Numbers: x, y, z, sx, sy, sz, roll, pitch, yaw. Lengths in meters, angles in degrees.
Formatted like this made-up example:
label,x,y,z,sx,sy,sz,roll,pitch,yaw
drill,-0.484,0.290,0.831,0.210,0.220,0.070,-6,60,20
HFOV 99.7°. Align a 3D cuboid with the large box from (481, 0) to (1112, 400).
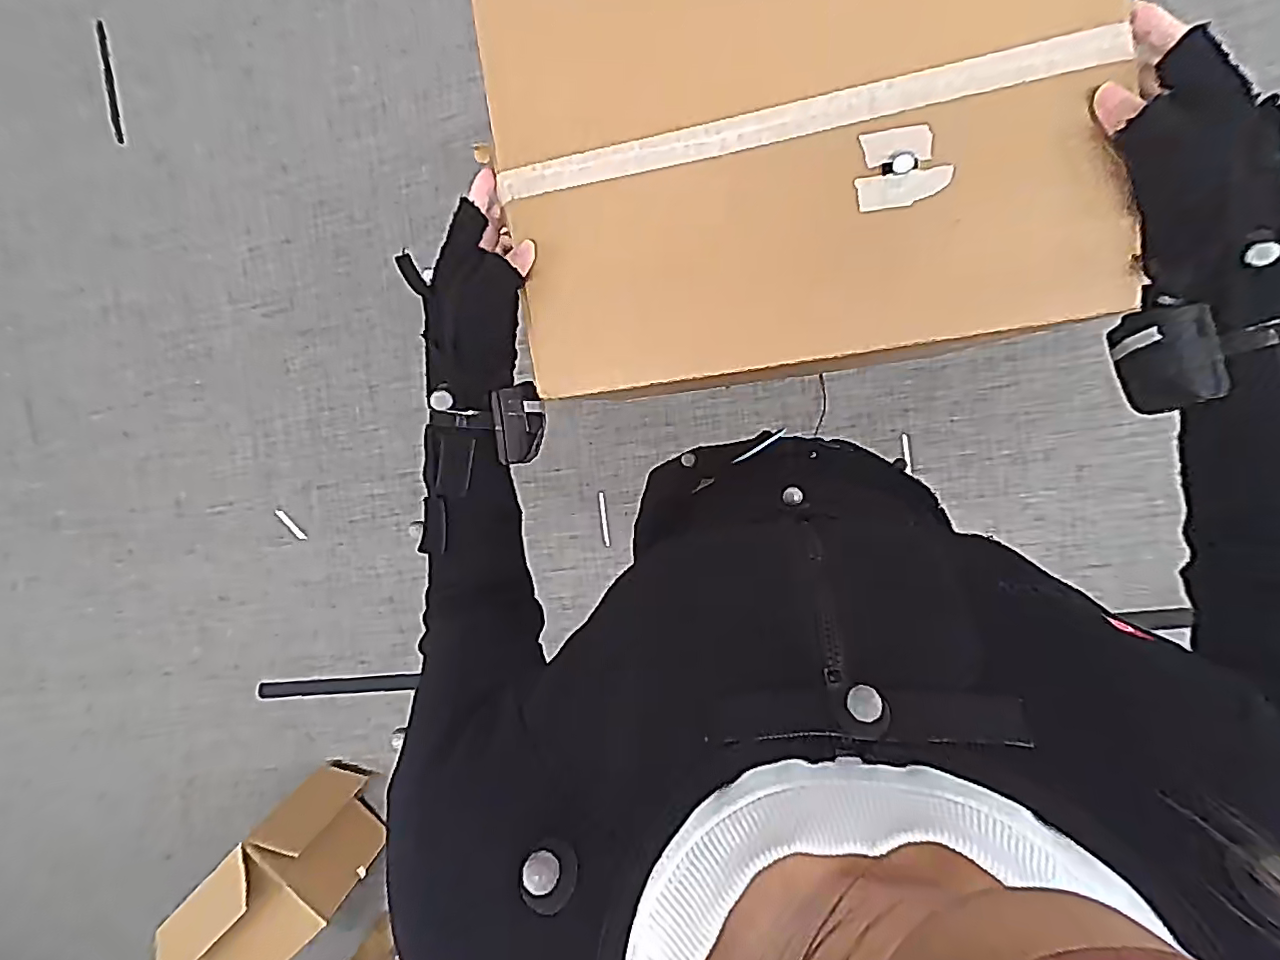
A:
label,x,y,z,sx,sy,sz,roll,pitch,yaw
large box,0.119,-0.262,0.521,0.408,0.320,0.320,-7,97,9
